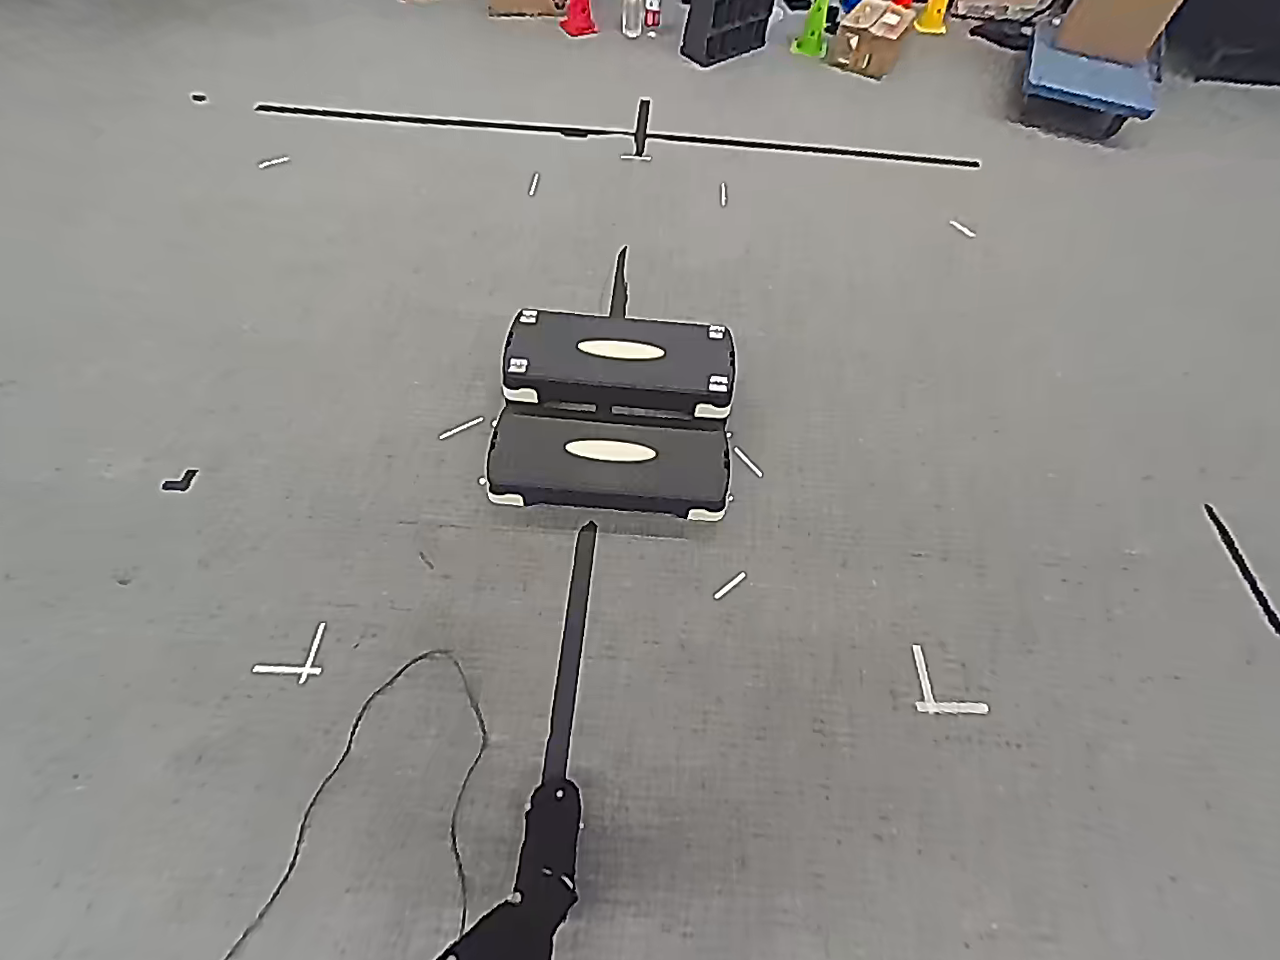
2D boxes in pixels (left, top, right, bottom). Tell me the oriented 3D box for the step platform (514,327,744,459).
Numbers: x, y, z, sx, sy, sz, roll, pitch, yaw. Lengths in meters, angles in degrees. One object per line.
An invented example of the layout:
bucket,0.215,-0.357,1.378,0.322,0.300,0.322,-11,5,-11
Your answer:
step platform,-0.030,-0.269,1.652,0.684,0.204,0.286,9,57,1
